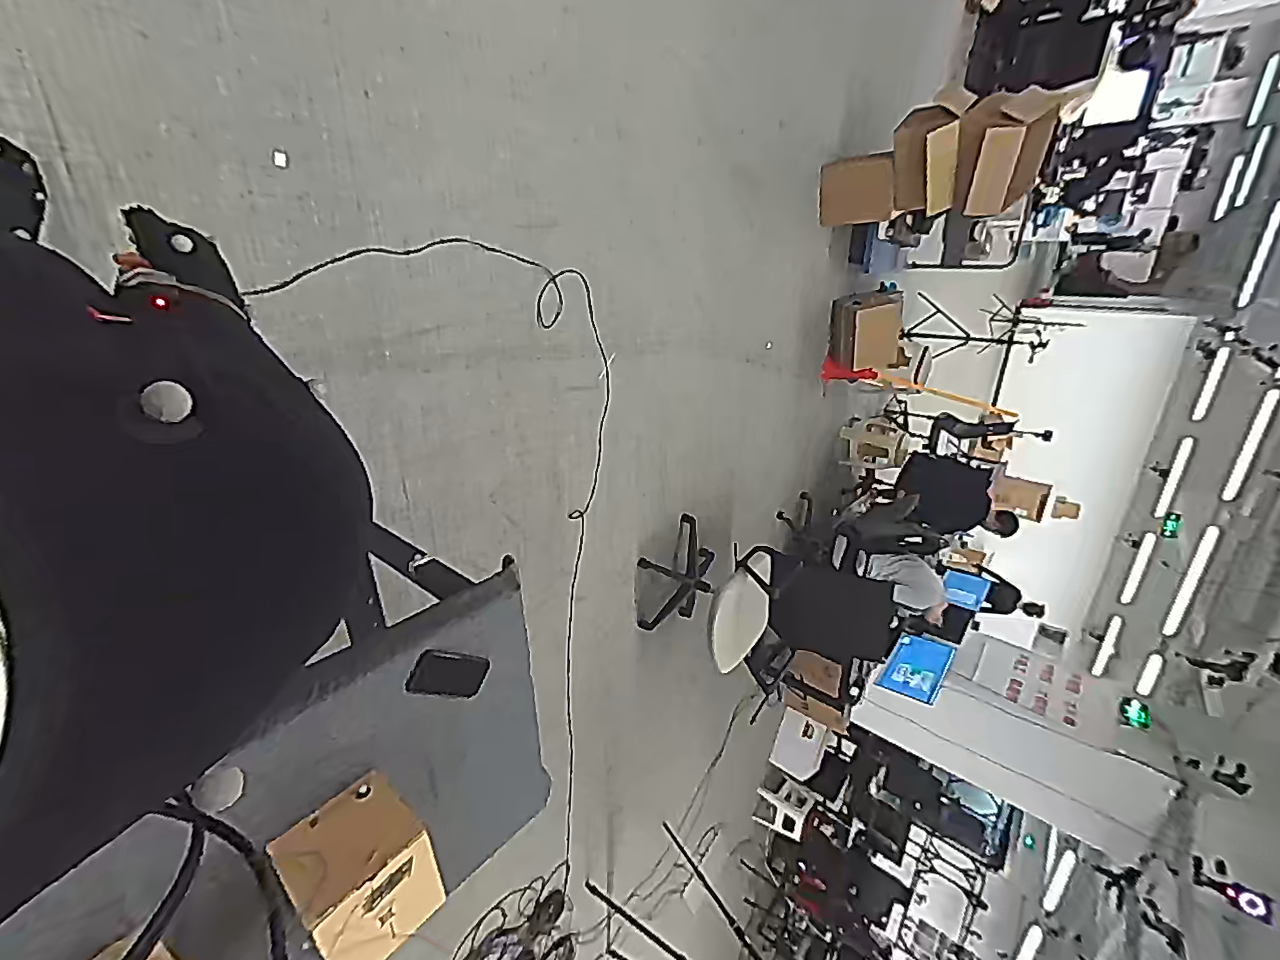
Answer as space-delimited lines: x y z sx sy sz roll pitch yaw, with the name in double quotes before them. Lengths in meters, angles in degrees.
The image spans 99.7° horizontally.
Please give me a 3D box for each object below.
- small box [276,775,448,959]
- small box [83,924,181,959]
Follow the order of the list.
"small box" -0.429 0.599 0.838 0.168 0.176 0.179 -28 126 -43
"small box" -0.620 0.684 0.631 0.168 0.176 0.179 -30 126 -44
